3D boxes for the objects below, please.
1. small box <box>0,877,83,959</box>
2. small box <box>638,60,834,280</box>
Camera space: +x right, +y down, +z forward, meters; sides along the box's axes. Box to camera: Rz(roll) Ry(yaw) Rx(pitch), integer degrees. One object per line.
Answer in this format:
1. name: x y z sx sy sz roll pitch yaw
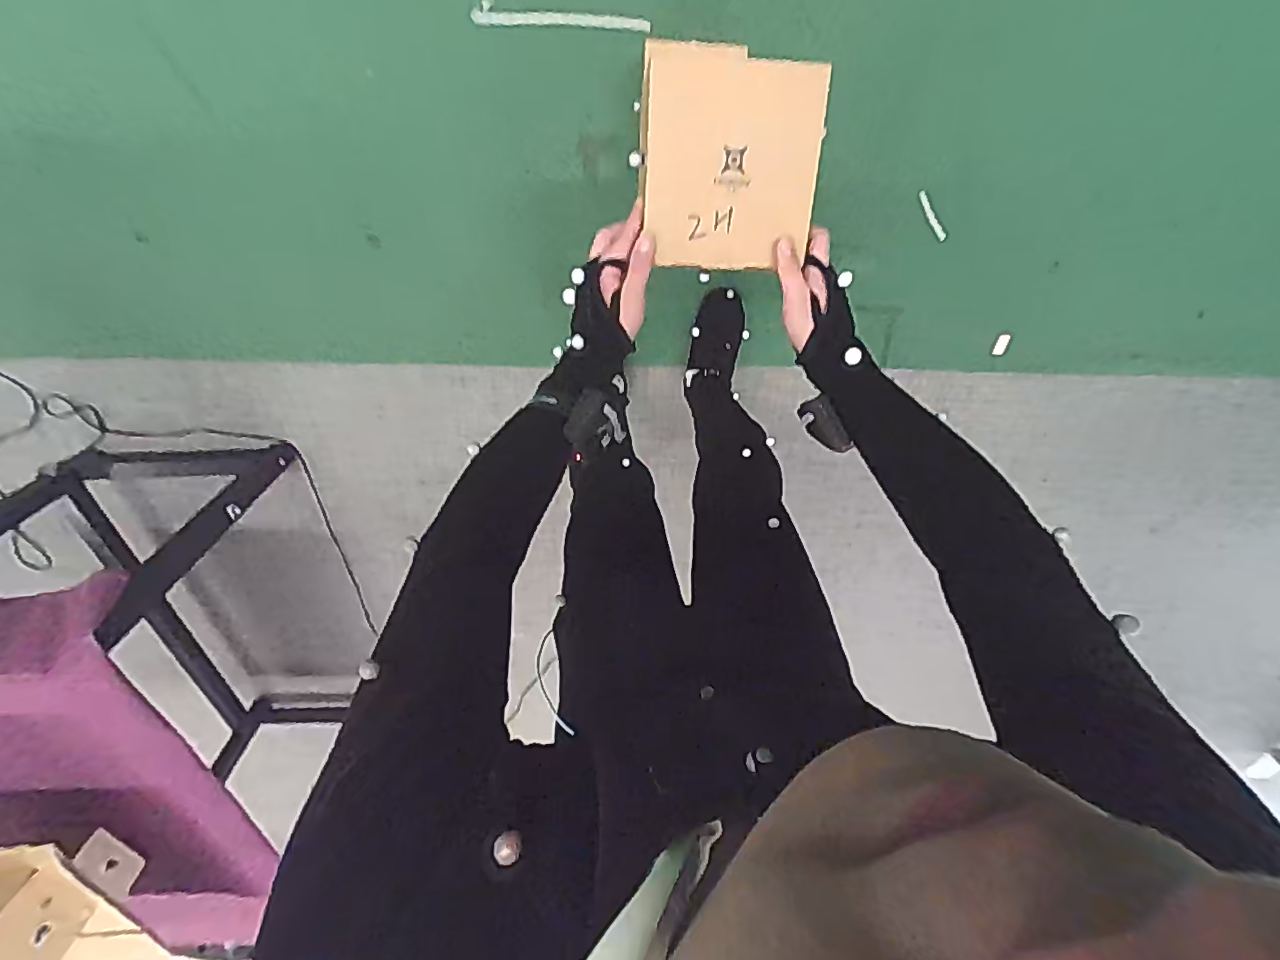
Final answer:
1. small box: -1.036 0.735 0.821 0.179 0.176 0.168 -3 121 0
2. small box: 0.085 -0.314 0.579 0.168 0.176 0.179 1 113 -2
